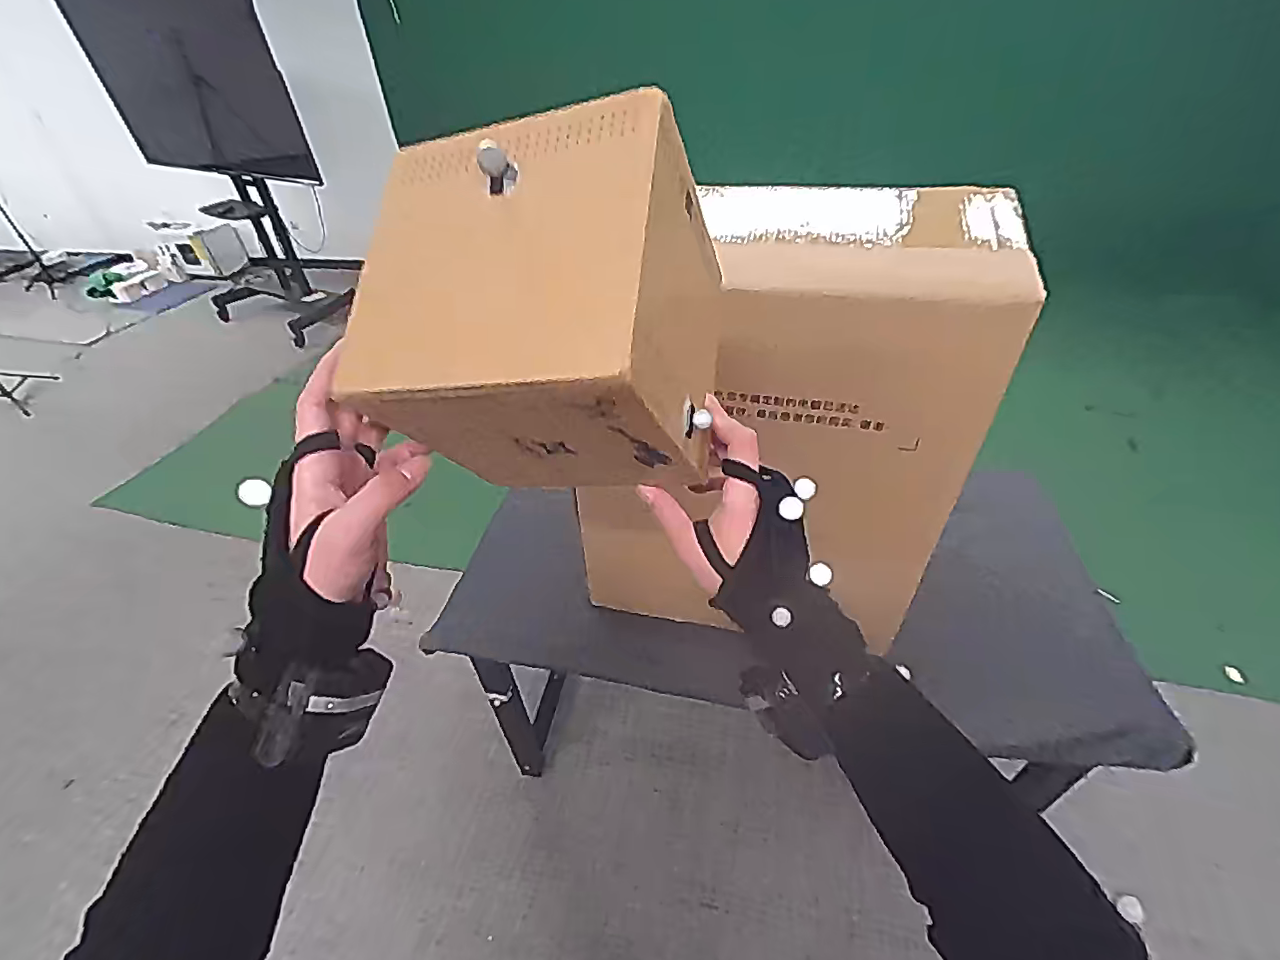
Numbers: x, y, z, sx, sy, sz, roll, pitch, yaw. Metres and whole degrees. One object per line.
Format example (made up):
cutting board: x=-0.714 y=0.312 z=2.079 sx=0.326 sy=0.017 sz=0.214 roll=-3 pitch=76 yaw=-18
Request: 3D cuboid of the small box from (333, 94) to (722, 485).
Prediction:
small box: x=-0.050 y=-0.103 z=0.354 sx=0.179 sy=0.168 sz=0.176 roll=1 pitch=73 yaw=19
